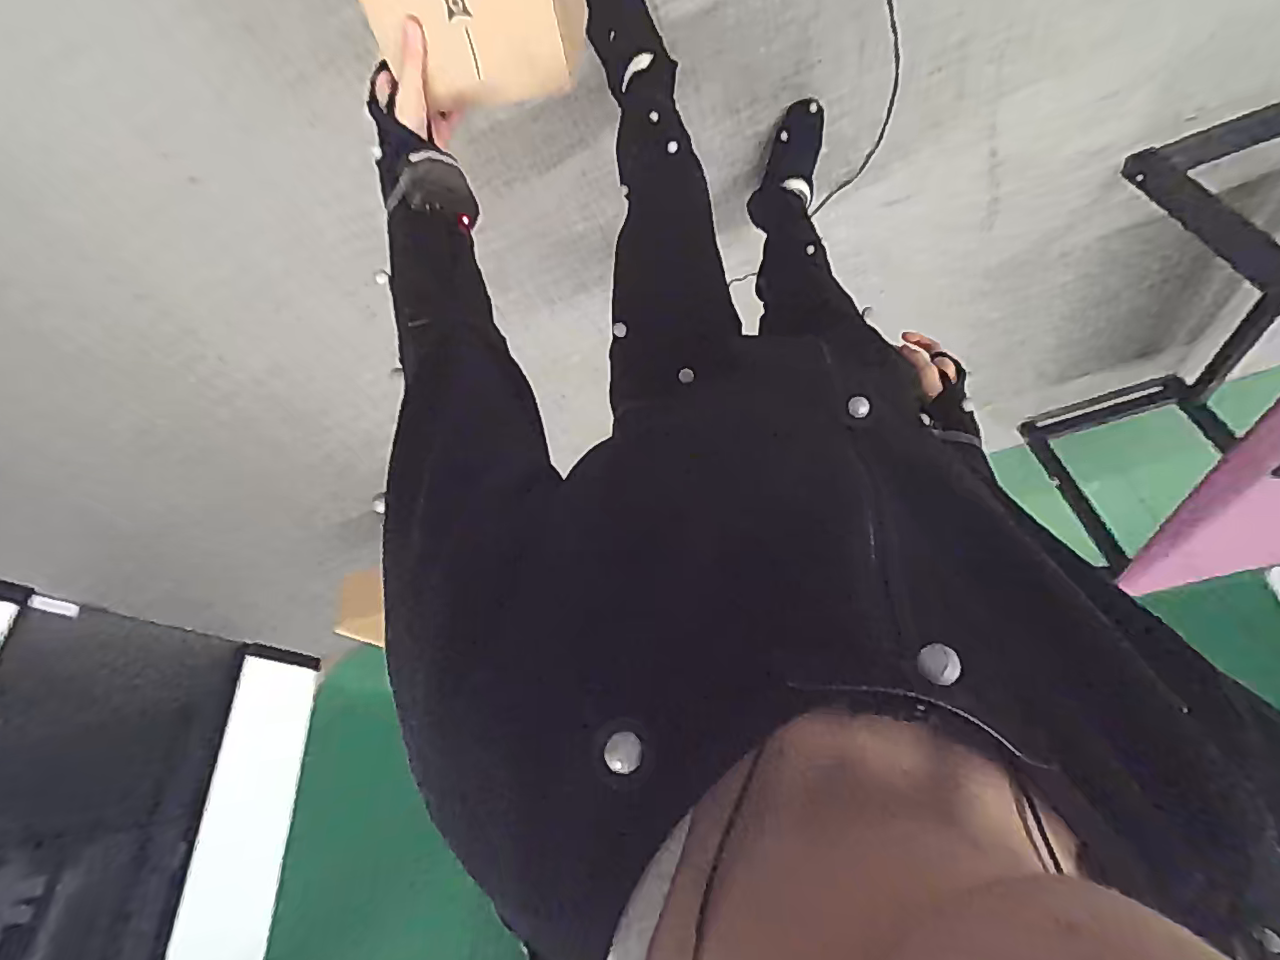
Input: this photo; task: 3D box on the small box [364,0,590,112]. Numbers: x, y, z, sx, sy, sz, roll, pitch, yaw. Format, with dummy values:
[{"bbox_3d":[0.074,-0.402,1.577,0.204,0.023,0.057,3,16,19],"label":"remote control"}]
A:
[{"bbox_3d":[-0.146,-0.471,0.479,0.168,0.176,0.179,-1,151,8],"label":"small box"}]
